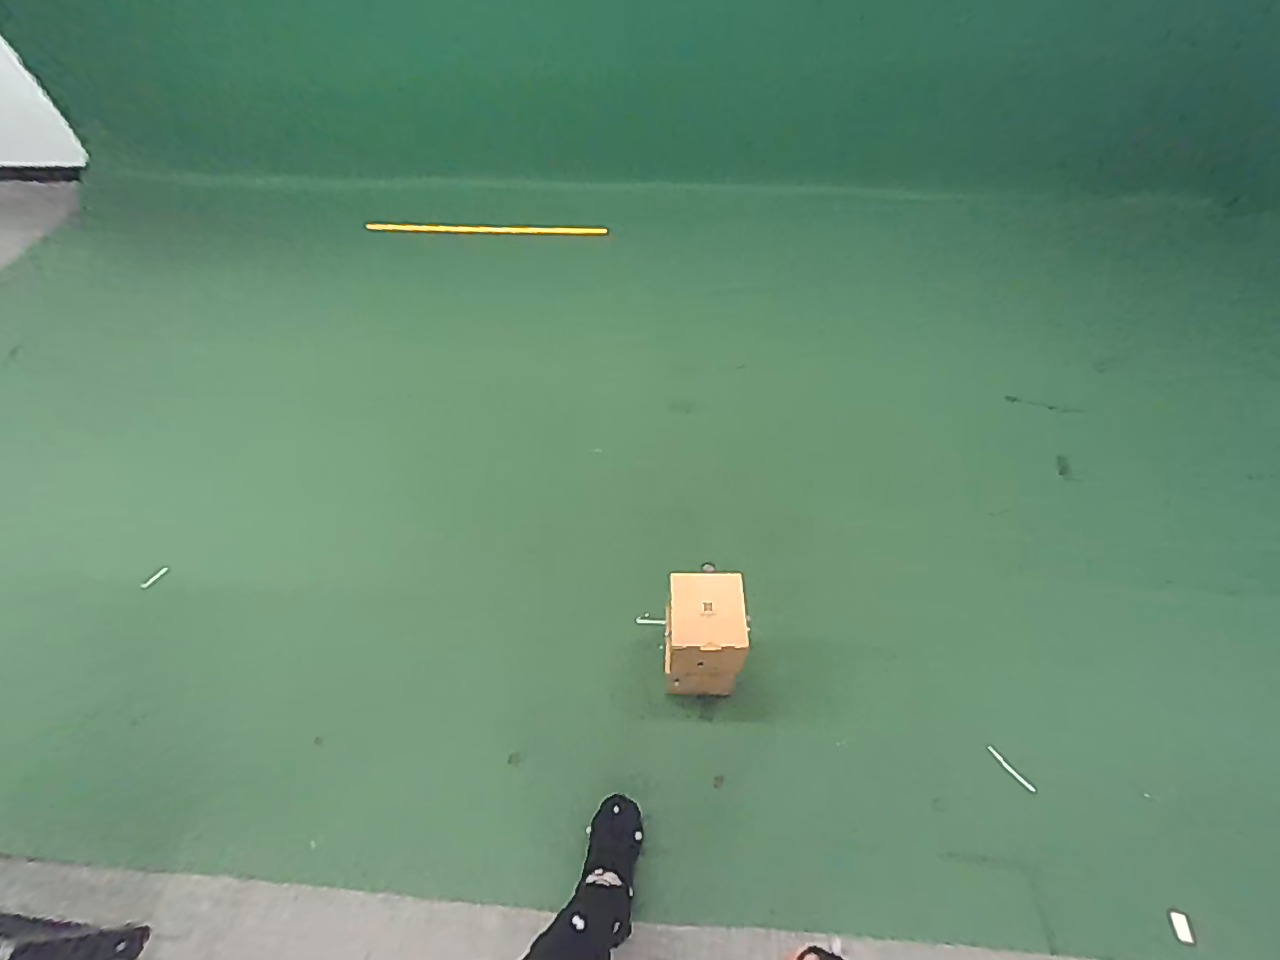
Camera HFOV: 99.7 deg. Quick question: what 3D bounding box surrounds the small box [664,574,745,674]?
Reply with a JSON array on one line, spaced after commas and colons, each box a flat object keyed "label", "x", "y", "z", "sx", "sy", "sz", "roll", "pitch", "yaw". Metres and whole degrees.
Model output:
[{"label": "small box", "x": 0.141, "y": 0.336, "z": 1.256, "sx": 0.168, "sy": 0.176, "sz": 0.179, "roll": 0, "pitch": 54, "yaw": 0}]
